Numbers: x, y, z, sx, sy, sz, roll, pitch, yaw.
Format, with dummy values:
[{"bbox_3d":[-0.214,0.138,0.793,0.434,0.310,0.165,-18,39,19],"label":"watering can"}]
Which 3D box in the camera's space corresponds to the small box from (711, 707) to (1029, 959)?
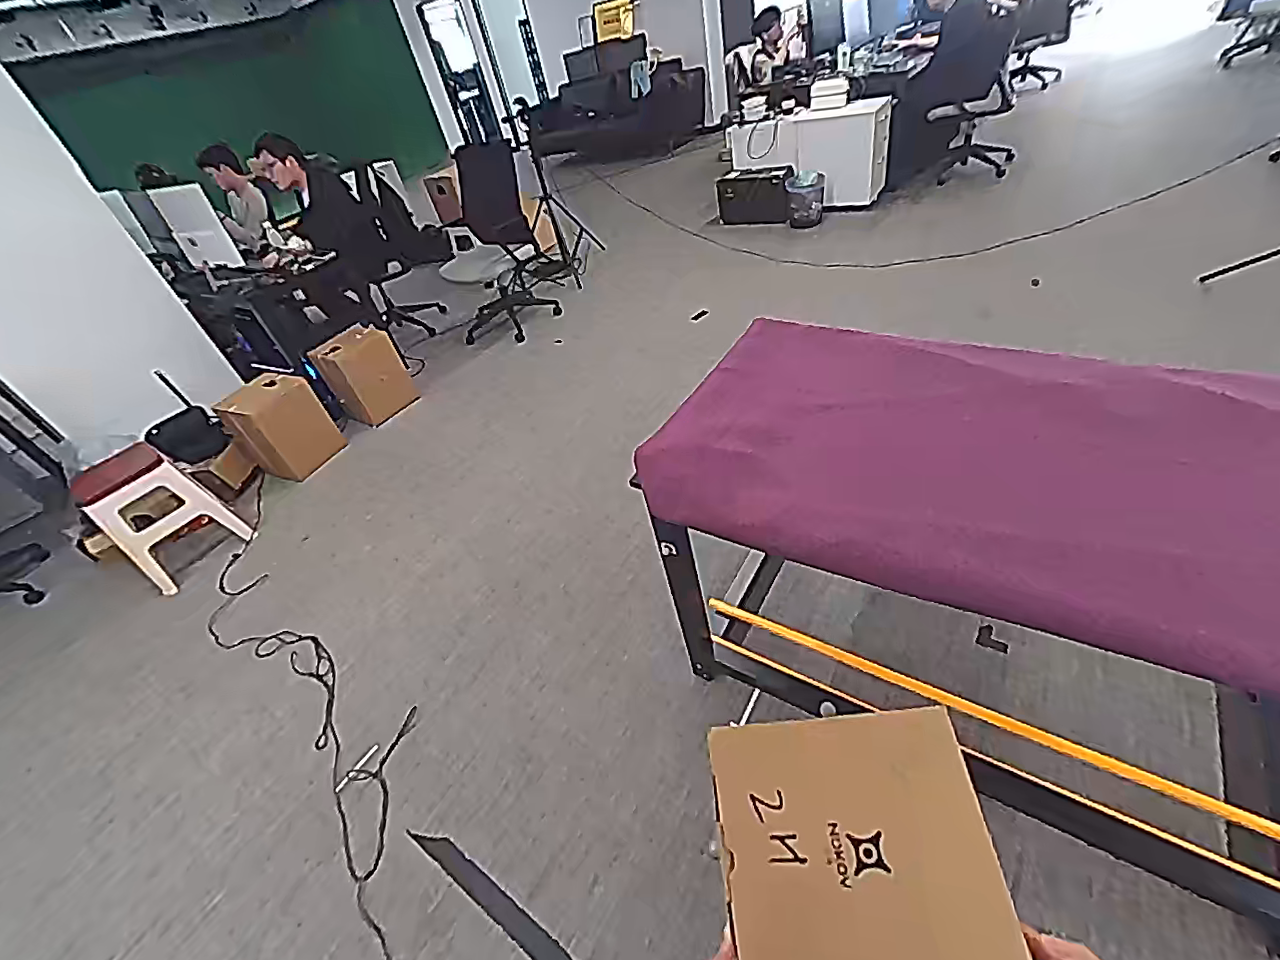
[{"bbox_3d":[0.155,0.284,0.429,0.179,0.176,0.168,-8,57,7],"label":"small box"}]
